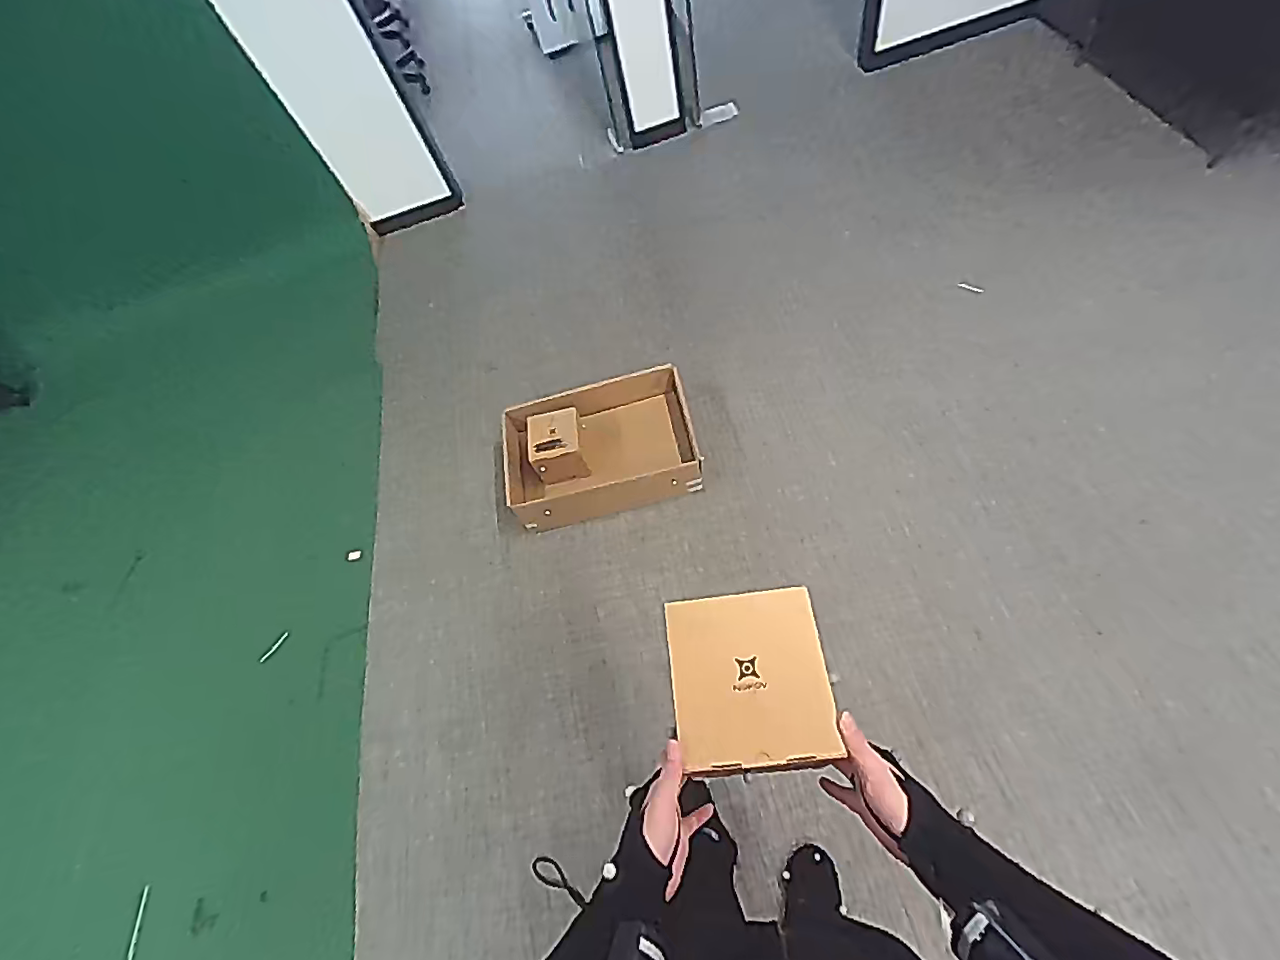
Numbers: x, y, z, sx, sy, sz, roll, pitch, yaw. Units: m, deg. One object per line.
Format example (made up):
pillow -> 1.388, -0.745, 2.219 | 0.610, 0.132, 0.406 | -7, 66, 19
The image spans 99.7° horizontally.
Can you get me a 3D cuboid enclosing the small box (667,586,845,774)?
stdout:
small box -> 0.125, 0.244, 0.646 | 0.168, 0.176, 0.179 | -8, 60, 5
